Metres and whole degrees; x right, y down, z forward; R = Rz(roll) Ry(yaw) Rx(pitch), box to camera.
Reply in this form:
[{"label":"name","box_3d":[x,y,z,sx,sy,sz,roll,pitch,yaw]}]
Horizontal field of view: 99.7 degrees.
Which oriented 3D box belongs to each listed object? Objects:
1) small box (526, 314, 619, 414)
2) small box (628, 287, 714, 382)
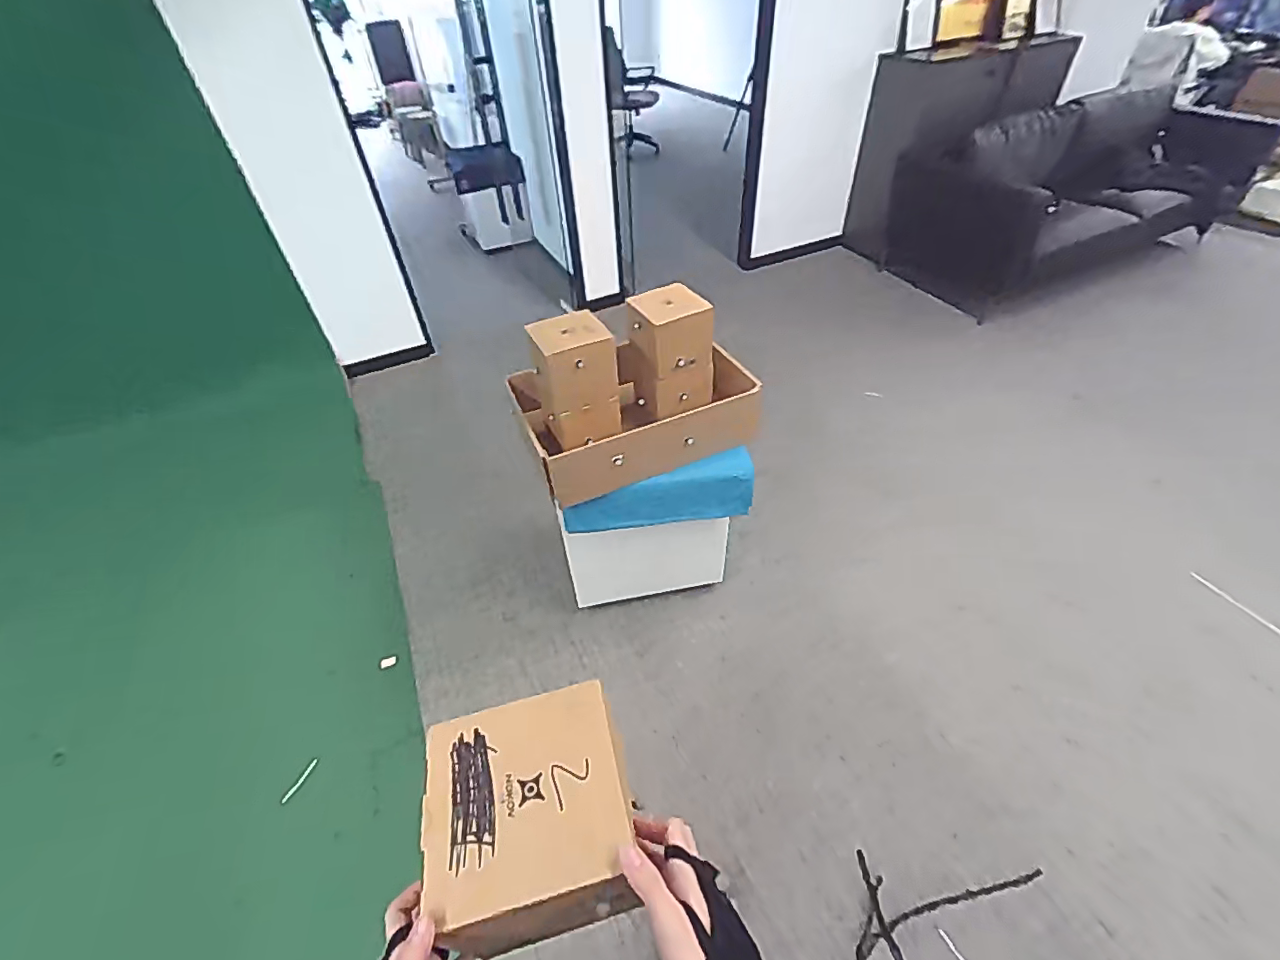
[{"label":"small box","box_3d":[-0.164,-0.287,1.350,0.179,0.176,0.168,-20,46,-17]},{"label":"small box","box_3d":[0.081,-0.385,1.434,0.168,0.176,0.179,-22,46,-15]}]
